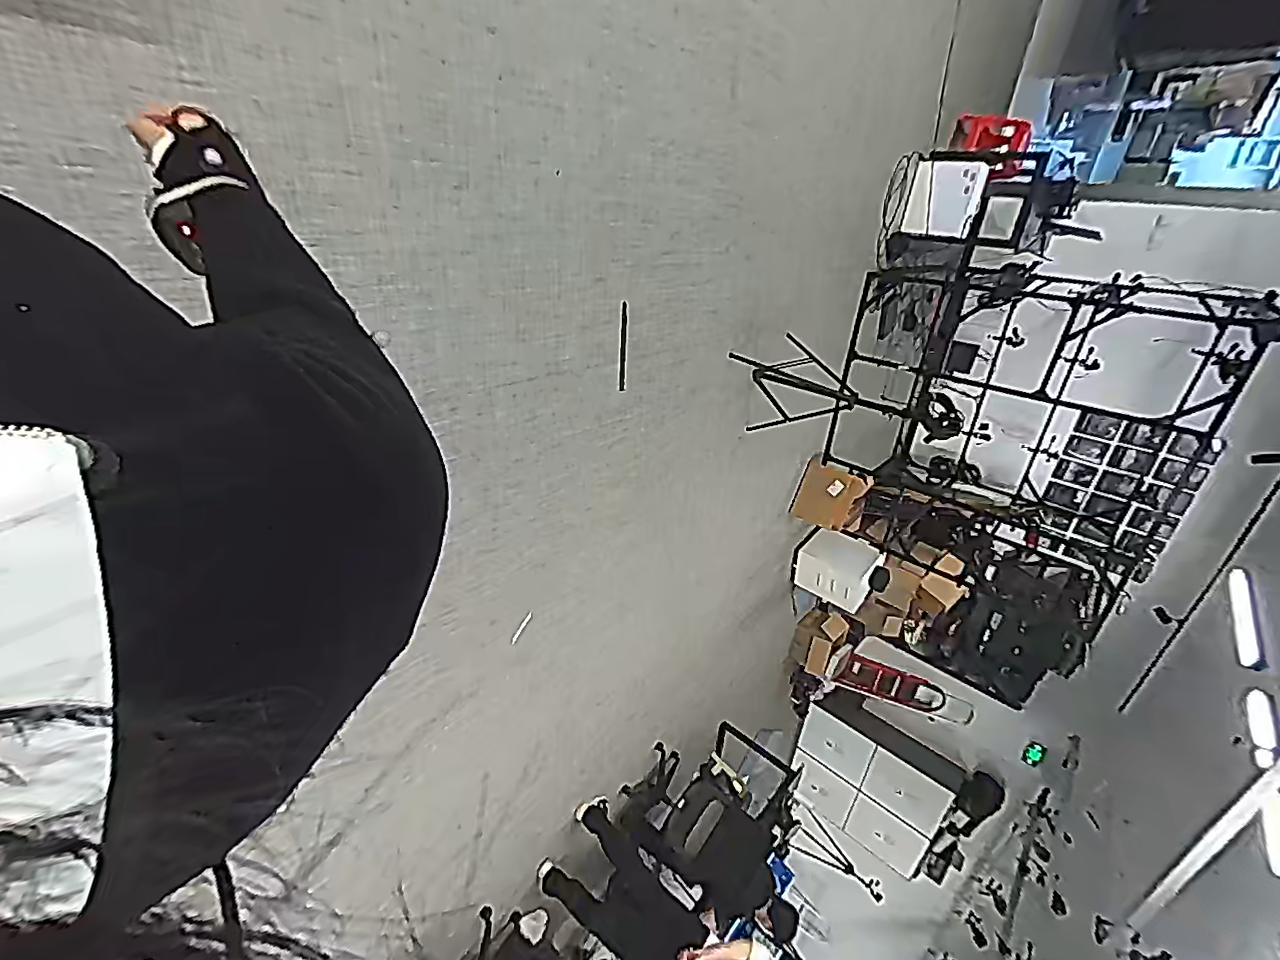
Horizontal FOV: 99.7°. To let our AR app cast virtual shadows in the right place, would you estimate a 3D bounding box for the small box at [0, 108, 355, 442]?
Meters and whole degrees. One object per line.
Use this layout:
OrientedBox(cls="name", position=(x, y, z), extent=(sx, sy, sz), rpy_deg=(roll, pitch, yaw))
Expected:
OrientedBox(cls="small box", position=(-0.365, -0.143, 0.445), extent=(0.179, 0.176, 0.168), rpy_deg=(25, 79, -22))
